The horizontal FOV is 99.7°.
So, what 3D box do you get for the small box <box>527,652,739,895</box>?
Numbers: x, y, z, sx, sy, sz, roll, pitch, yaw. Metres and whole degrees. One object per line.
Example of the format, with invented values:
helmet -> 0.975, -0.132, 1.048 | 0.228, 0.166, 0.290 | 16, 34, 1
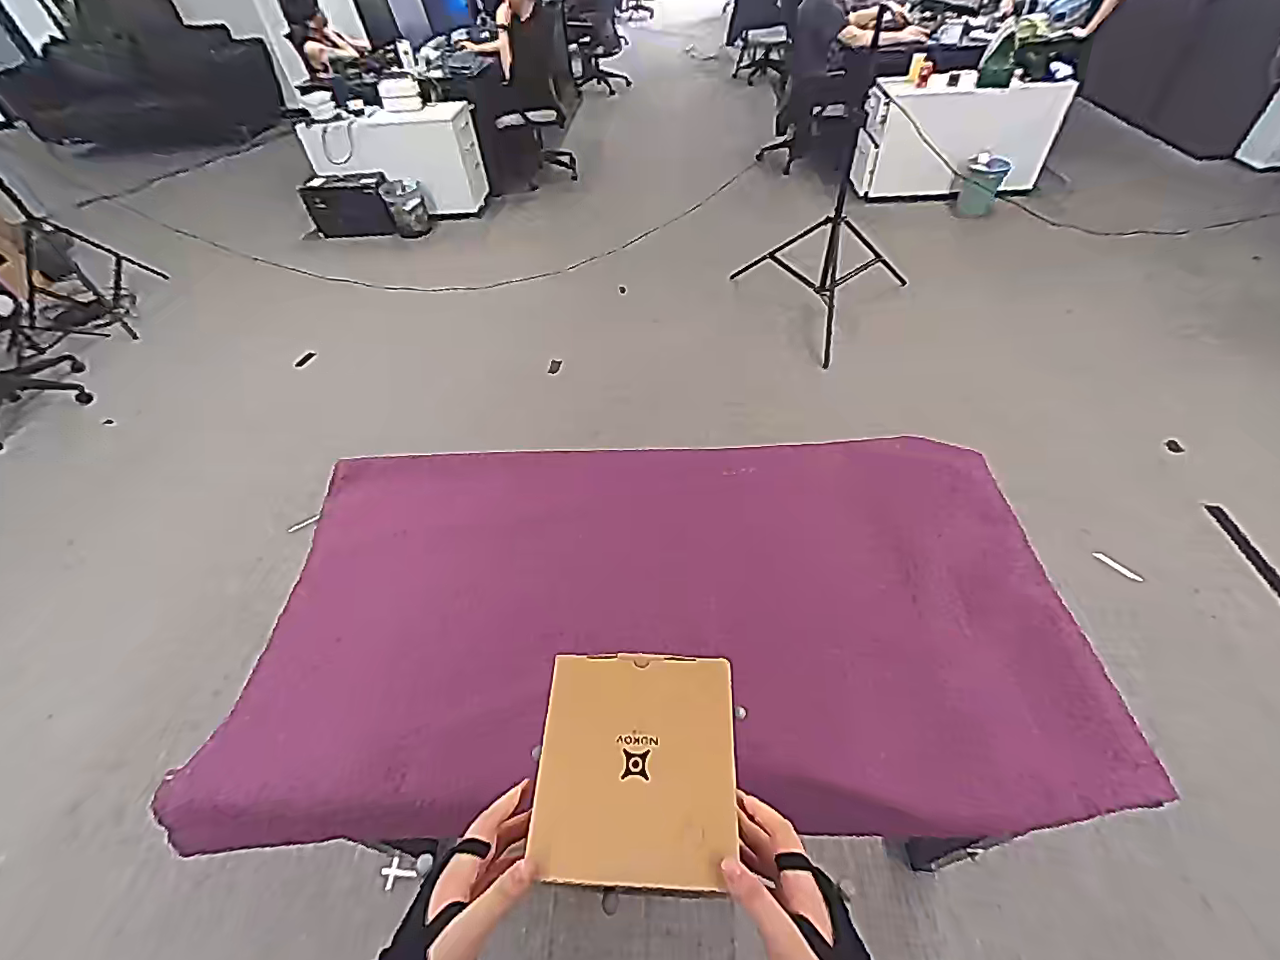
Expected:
small box -> 0.005, 0.282, 0.517 | 0.168, 0.176, 0.179 | 0, 50, 5
